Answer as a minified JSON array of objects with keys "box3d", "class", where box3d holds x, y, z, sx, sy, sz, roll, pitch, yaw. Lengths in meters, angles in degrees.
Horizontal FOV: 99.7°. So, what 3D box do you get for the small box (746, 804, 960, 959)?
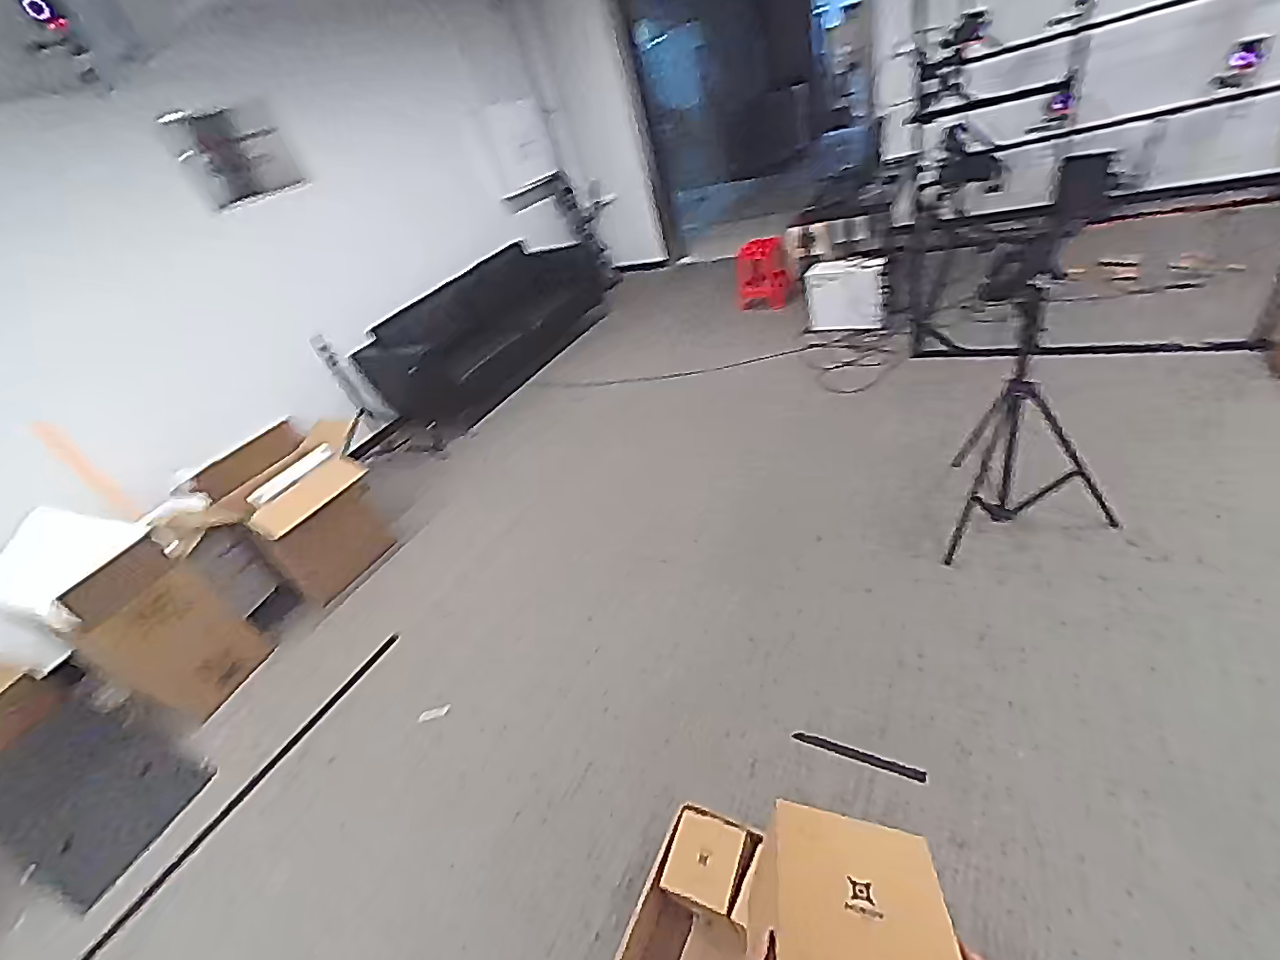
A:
[{"box3d":[0.201,0.480,0.545,0.168,0.176,0.179,9,19,9],"class":"small box"}]
